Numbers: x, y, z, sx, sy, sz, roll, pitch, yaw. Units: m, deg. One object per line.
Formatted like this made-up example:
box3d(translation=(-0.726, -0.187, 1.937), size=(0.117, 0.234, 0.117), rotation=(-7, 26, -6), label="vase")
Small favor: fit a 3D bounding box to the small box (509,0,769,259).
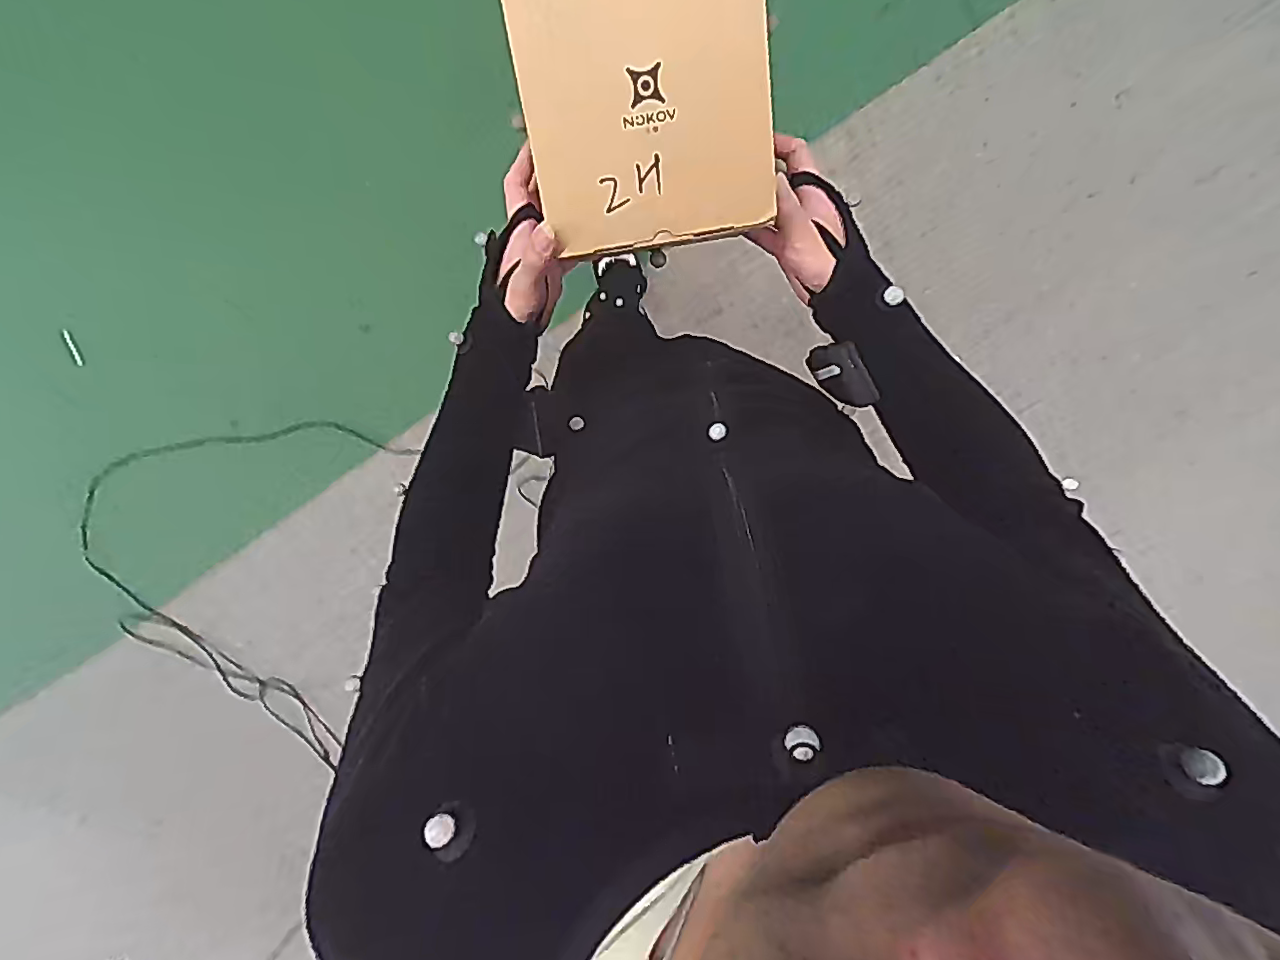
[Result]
box3d(translation=(0.003, -0.285, 0.442), size=(0.168, 0.176, 0.179), rotation=(-7, 112, 3), label="small box")
